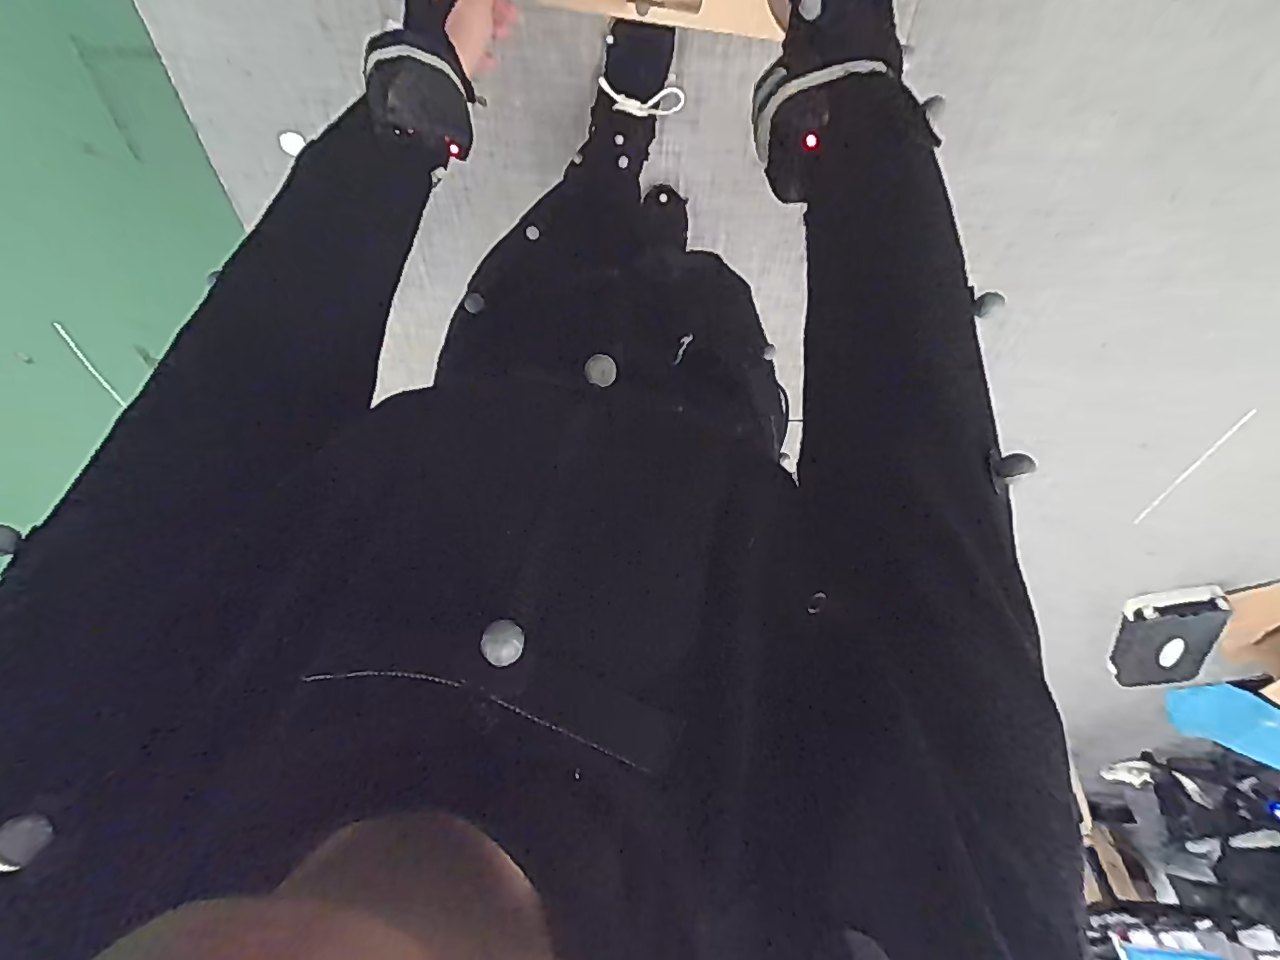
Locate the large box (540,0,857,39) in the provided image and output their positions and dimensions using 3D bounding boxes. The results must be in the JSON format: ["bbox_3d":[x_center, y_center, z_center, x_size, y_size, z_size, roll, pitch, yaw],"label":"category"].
[{"bbox_3d":[0.084,-0.794,0.678,0.408,0.320,0.320,5,138,-3],"label":"large box"}]
